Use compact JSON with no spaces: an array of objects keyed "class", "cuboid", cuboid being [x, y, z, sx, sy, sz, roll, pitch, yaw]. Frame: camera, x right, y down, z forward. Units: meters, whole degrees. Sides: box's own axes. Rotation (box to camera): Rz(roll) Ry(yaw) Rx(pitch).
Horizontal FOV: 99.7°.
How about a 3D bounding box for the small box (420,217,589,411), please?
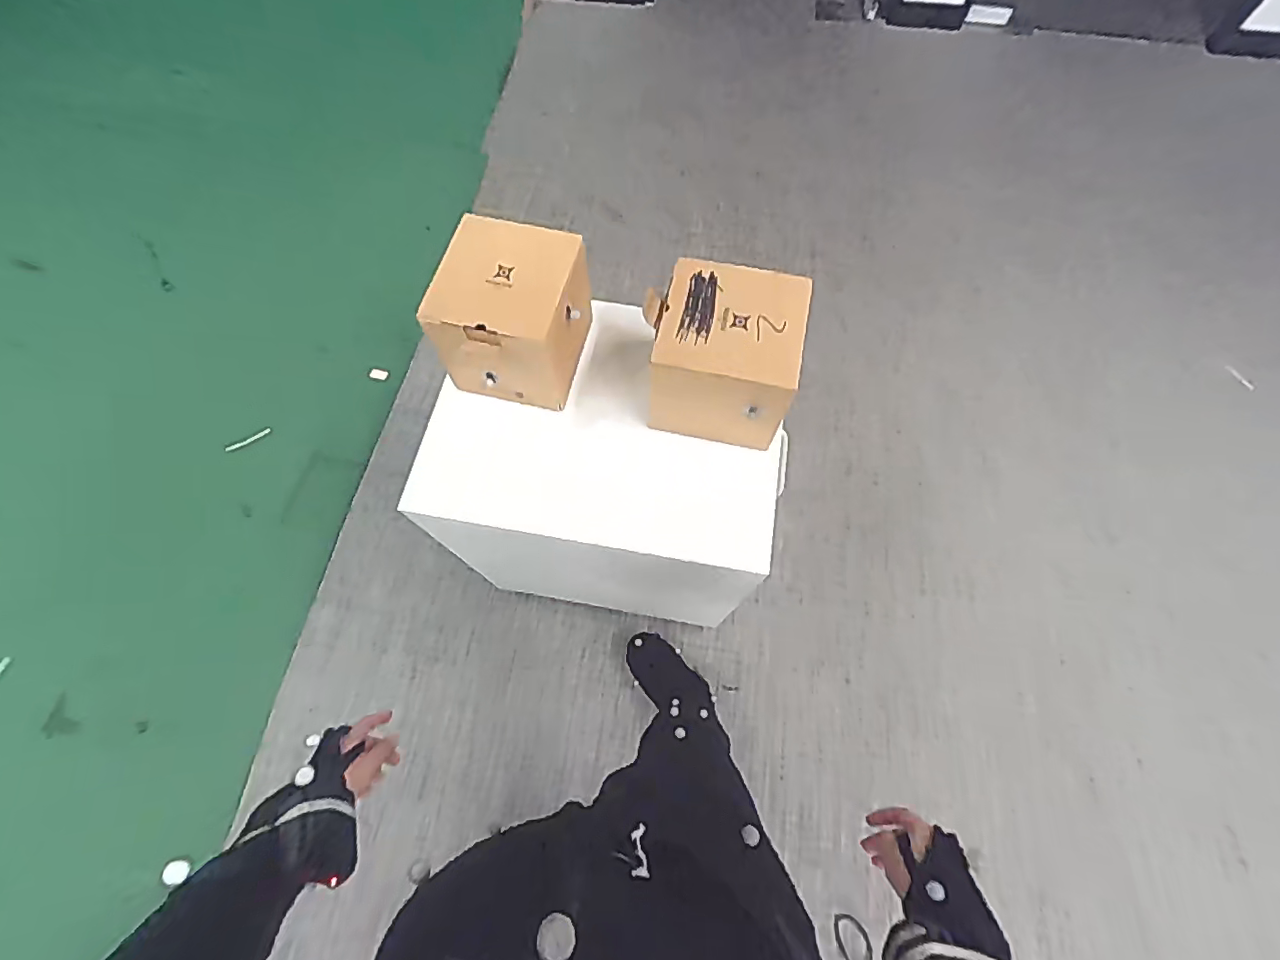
[{"class":"small box","cuboid":[-0.171,-0.223,0.753,0.168,0.176,0.179,12,69,4]}]
